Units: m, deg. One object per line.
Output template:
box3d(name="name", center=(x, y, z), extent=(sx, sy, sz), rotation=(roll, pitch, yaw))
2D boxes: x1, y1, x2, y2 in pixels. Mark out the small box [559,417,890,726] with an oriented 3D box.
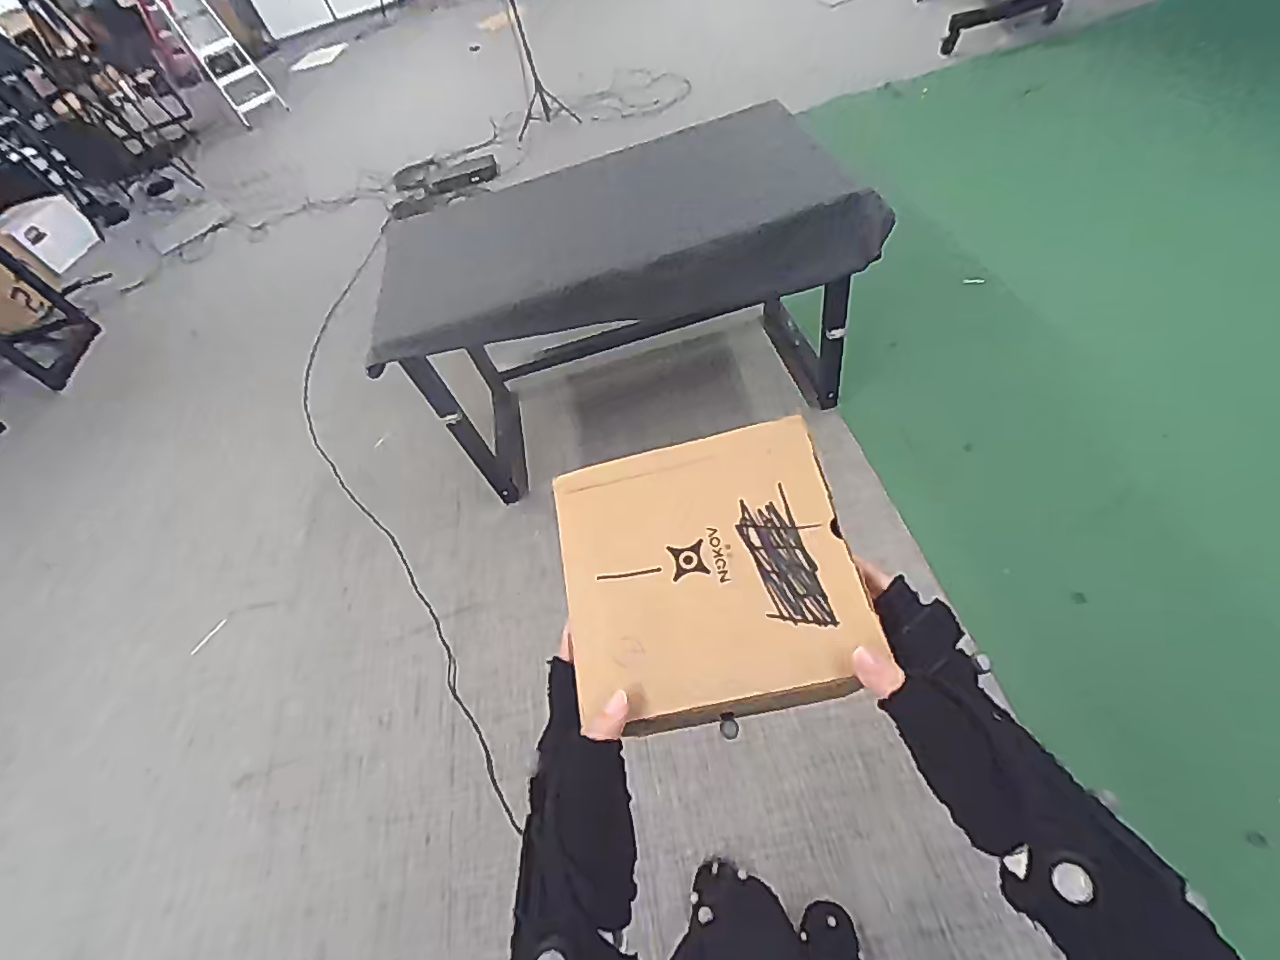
box3d(name="small box", center=(0.053, 0.080, 0.404), extent=(0.179, 0.176, 0.168), rotation=(-13, 62, 5))
